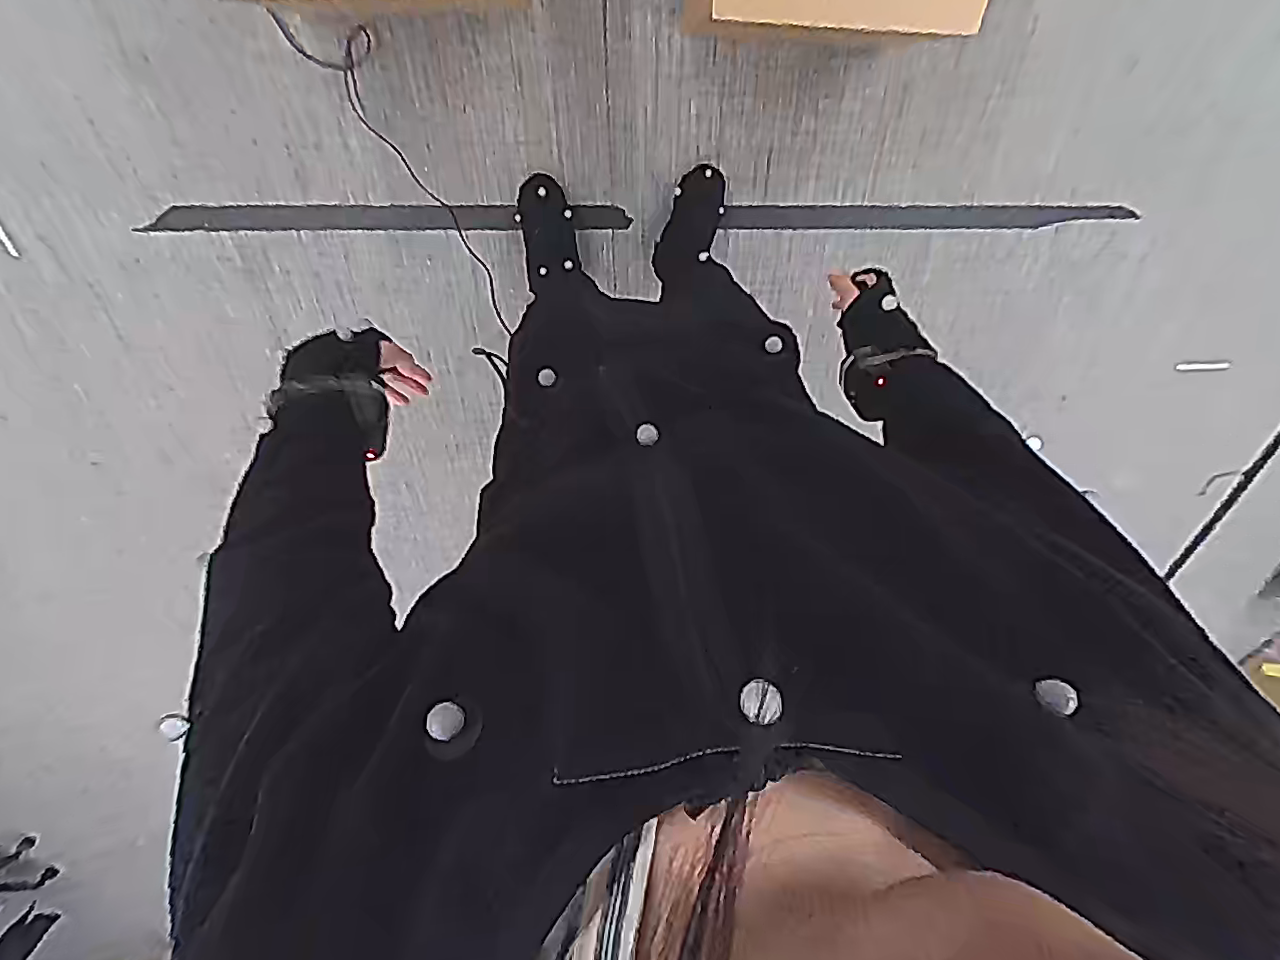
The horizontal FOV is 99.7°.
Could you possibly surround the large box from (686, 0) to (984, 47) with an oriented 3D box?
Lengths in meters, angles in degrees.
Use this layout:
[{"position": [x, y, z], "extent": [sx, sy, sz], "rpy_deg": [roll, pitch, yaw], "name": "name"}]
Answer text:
[{"position": [0.297, -0.878, 0.826], "extent": [0.408, 0.320, 0.320], "rpy_deg": [-1, 126, -6], "name": "large box"}]
